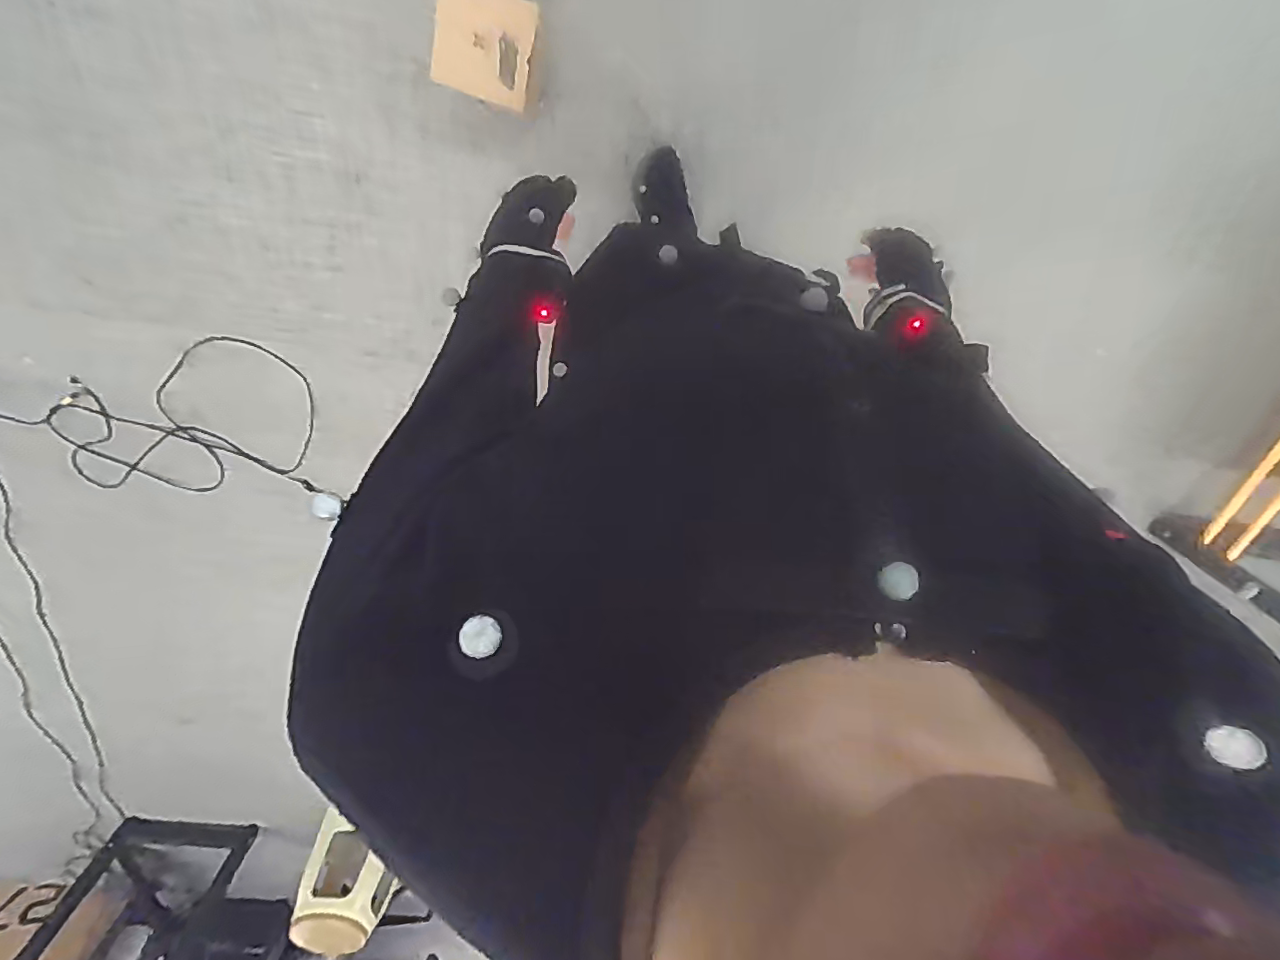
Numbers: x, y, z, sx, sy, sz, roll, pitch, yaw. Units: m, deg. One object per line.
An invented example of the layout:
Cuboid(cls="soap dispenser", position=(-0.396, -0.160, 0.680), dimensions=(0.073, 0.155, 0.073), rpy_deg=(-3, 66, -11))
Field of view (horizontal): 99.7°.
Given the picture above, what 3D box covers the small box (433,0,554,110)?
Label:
Cuboid(cls="small box", position=(-0.271, -0.827, 1.028), dimensions=(0.179, 0.176, 0.168), rpy_deg=(15, 118, -8))
